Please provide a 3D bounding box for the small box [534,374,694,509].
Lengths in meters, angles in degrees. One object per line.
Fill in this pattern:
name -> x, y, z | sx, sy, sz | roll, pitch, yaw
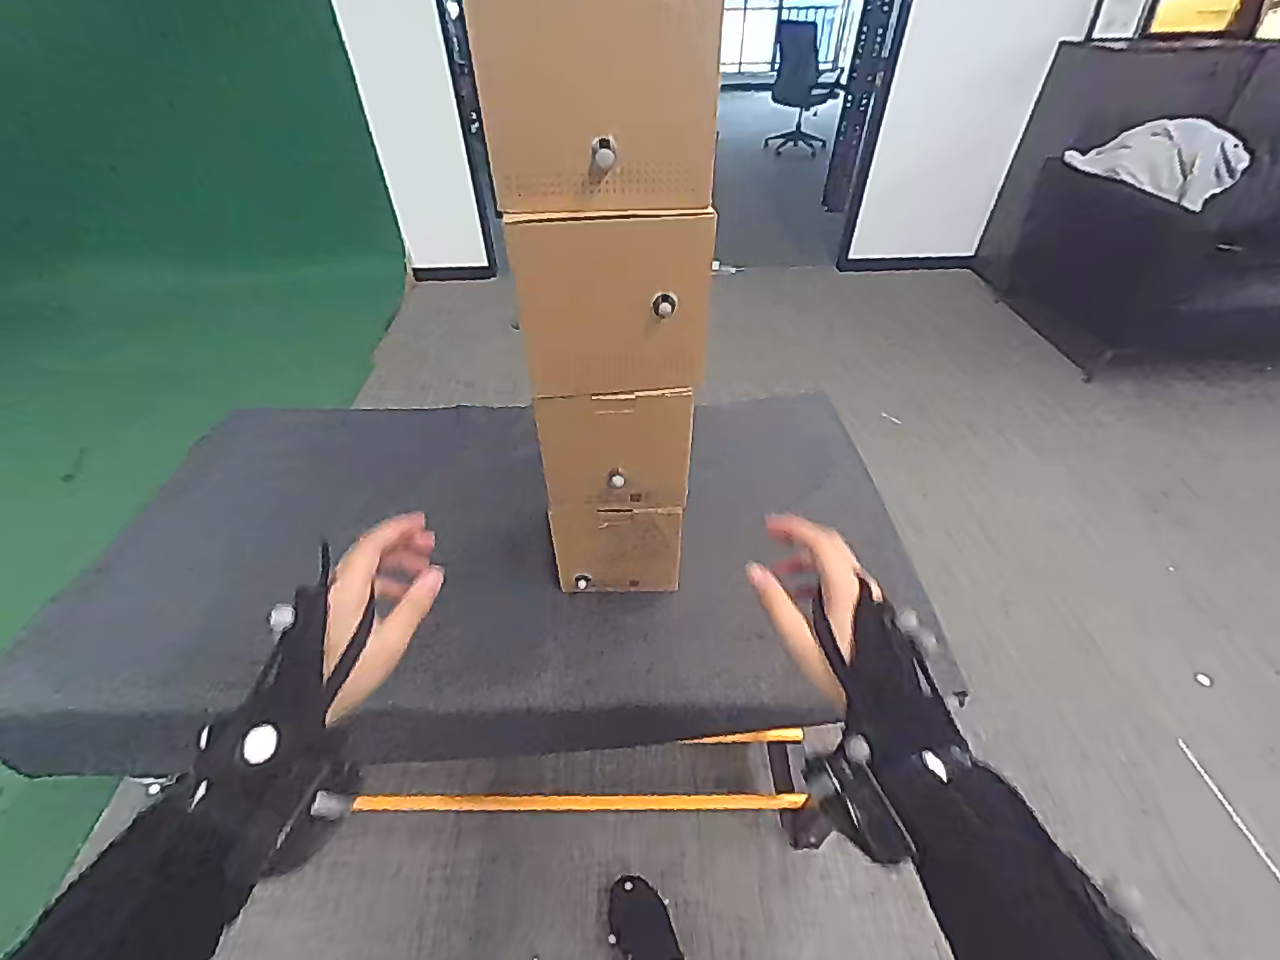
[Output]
small box -> -0.029, -0.084, 0.659 | 0.168, 0.176, 0.179 | -2, 43, -1

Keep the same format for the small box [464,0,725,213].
small box -> -0.034, -0.332, 0.446 | 0.179, 0.176, 0.168 | -3, 42, -3

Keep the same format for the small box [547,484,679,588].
small box -> -0.030, 0.039, 0.769 | 0.168, 0.176, 0.179 | 0, 42, 0

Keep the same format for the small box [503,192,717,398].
small box -> -0.032, -0.200, 0.545 | 0.179, 0.176, 0.168 | -6, 42, -5
